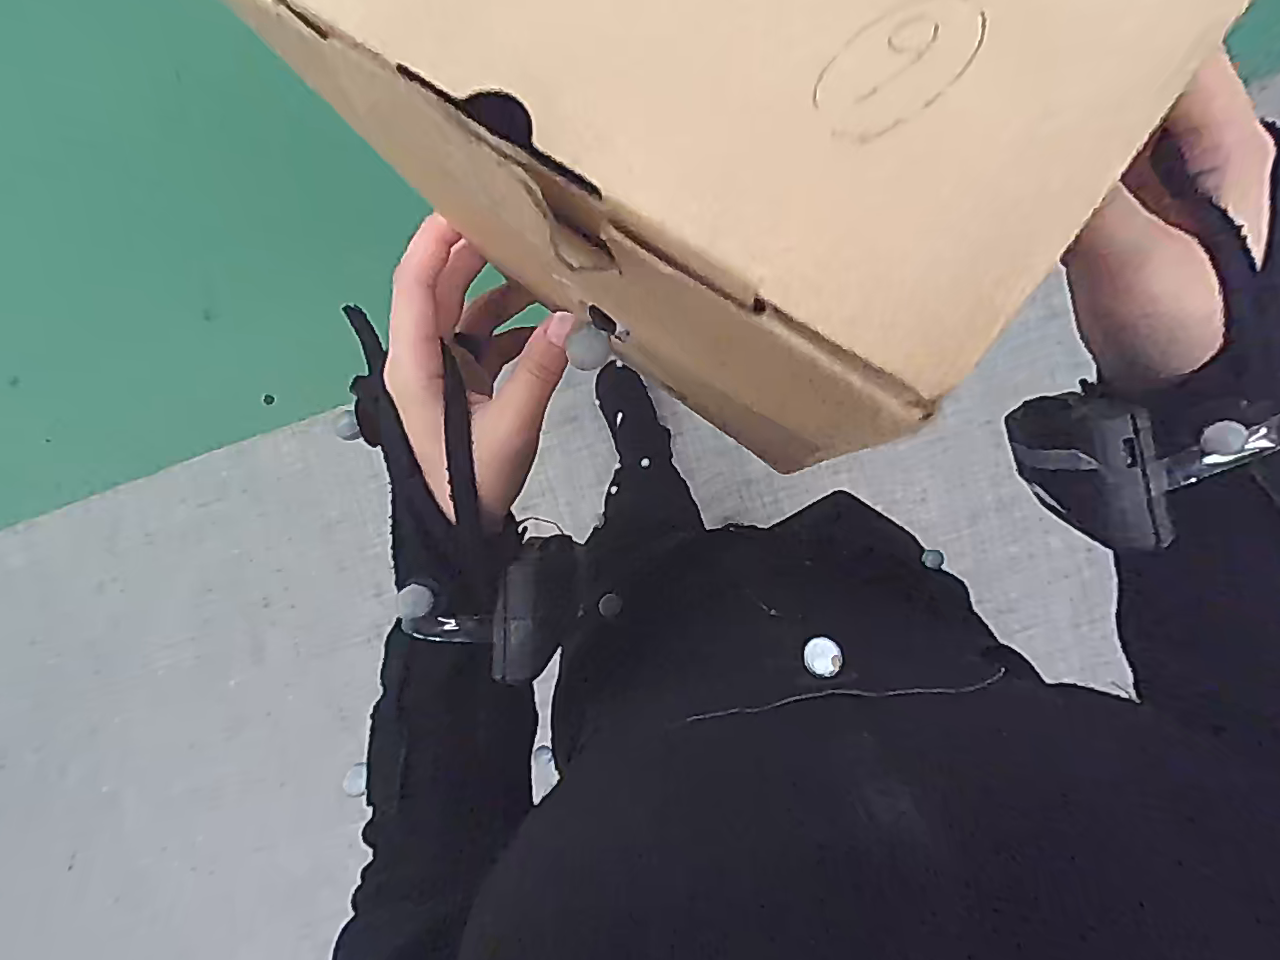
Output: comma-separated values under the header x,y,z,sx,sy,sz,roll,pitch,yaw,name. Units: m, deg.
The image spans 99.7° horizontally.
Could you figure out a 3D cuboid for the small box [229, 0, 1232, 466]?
x,y,z,sx,sy,sz,roll,pitch,yaw,name
0.038,-0.117,0.174,0.168,0.176,0.179,36,94,8,small box
